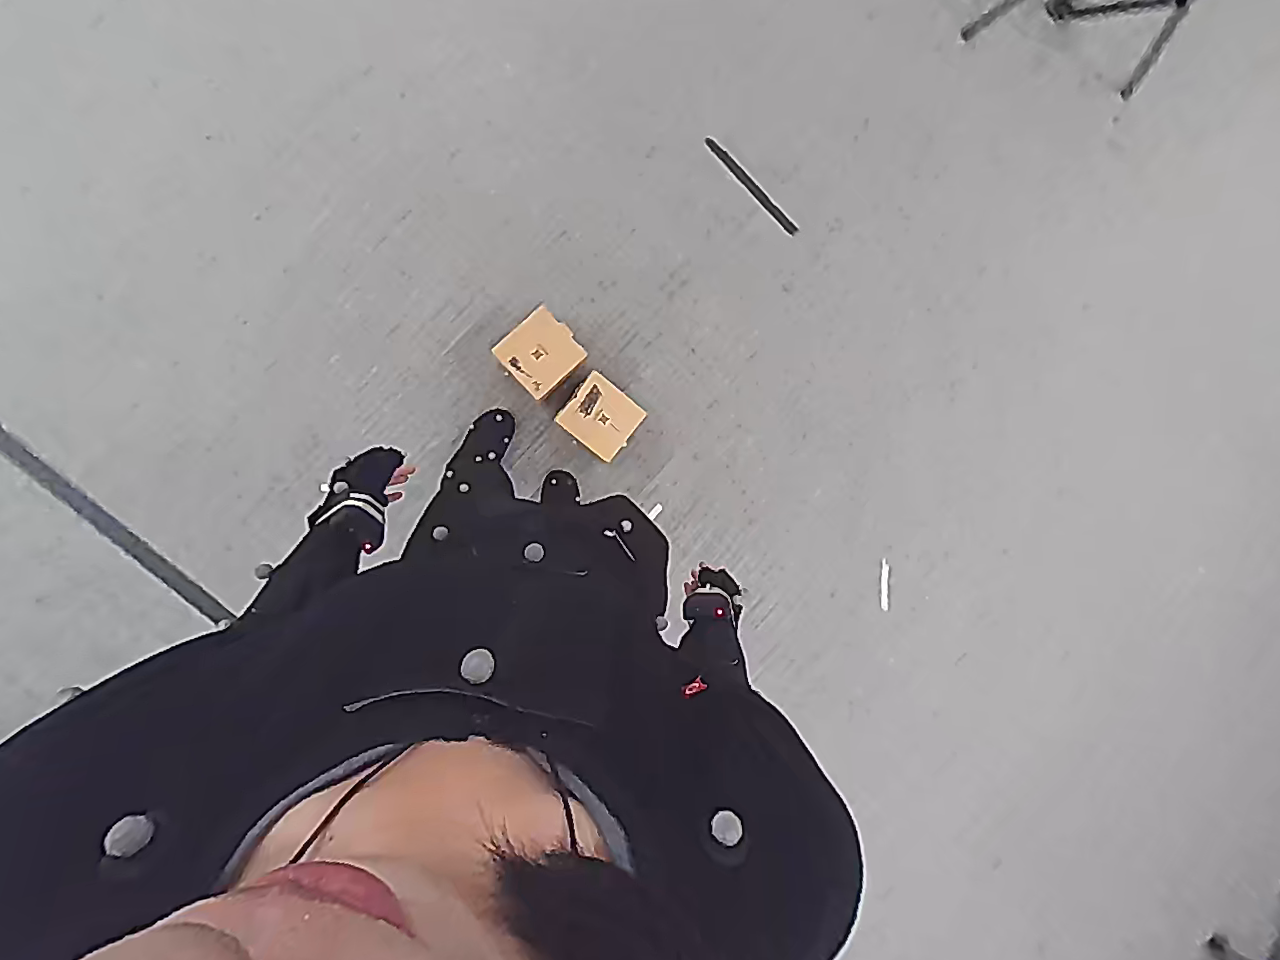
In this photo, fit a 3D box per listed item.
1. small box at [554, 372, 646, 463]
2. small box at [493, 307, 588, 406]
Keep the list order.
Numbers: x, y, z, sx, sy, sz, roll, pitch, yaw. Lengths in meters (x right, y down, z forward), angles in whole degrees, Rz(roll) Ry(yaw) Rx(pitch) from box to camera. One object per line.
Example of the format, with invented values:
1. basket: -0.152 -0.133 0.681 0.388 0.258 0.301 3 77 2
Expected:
1. small box: -0.113 -0.158 1.438 0.179 0.176 0.168 40 86 -9
2. small box: -0.259 -0.313 1.408 0.179 0.176 0.168 -42 97 -5
